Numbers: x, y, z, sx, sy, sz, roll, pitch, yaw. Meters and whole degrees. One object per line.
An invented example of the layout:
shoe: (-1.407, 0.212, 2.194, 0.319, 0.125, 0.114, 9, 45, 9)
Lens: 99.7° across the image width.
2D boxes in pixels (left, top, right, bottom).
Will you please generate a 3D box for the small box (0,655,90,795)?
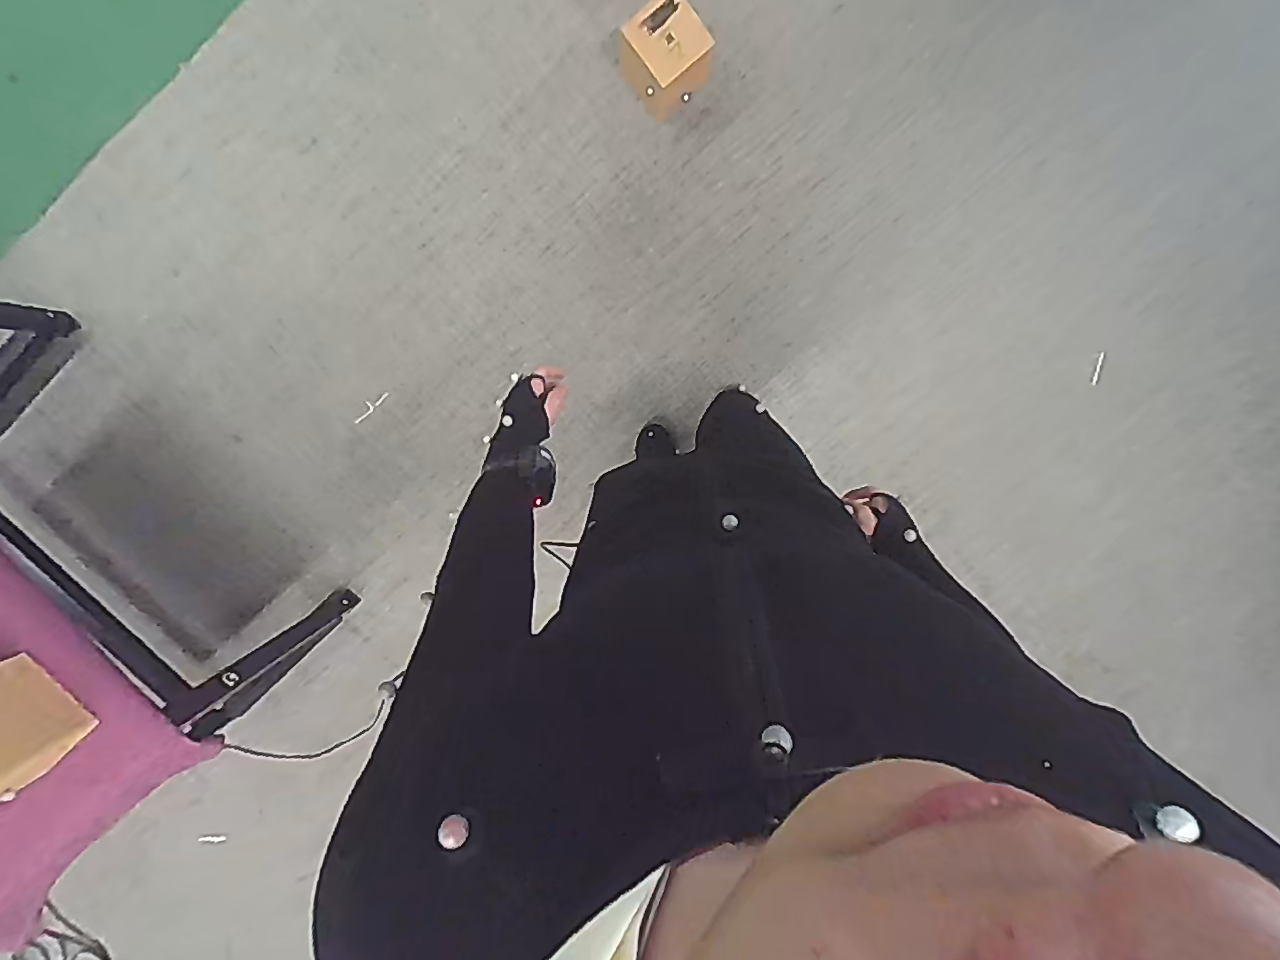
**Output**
small box: (-1.070, 0.421, 0.869, 0.168, 0.176, 0.179, -40, 95, 7)
